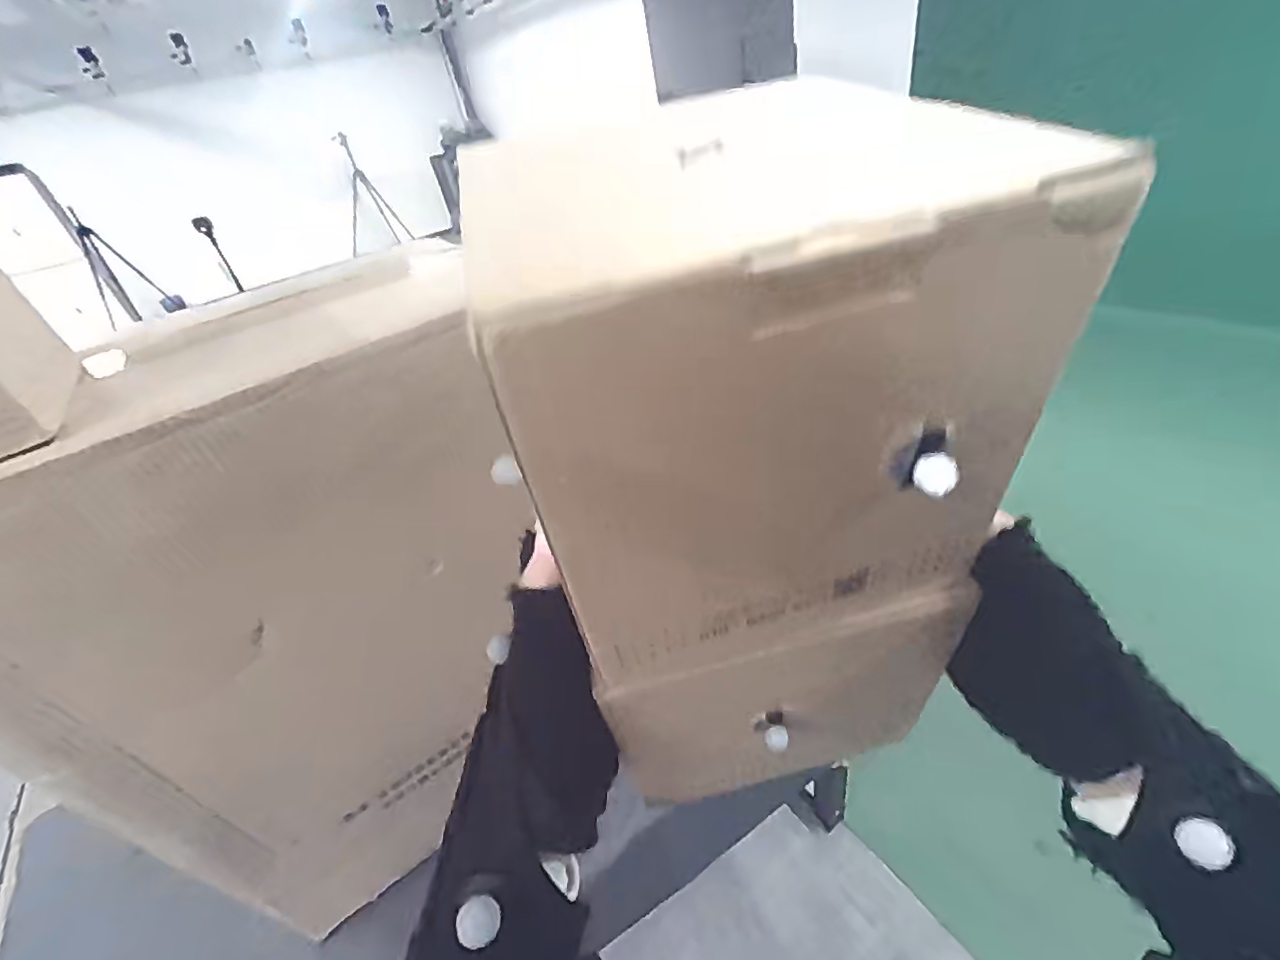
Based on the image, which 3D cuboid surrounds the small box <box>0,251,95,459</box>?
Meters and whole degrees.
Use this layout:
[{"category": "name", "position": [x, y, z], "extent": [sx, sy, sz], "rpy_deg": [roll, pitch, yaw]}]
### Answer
[{"category": "small box", "position": [-0.499, -0.092, 0.334], "extent": [0.168, 0.176, 0.179], "rpy_deg": [-30, 42, -23]}]

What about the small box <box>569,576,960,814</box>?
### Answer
[{"category": "small box", "position": [0.053, 0.082, 0.343], "extent": [0.179, 0.176, 0.168], "rpy_deg": [-13, 42, -2]}]

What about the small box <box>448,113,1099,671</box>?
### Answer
[{"category": "small box", "position": [0.027, -0.039, 0.240], "extent": [0.168, 0.176, 0.179], "rpy_deg": [-14, 42, -6]}]
